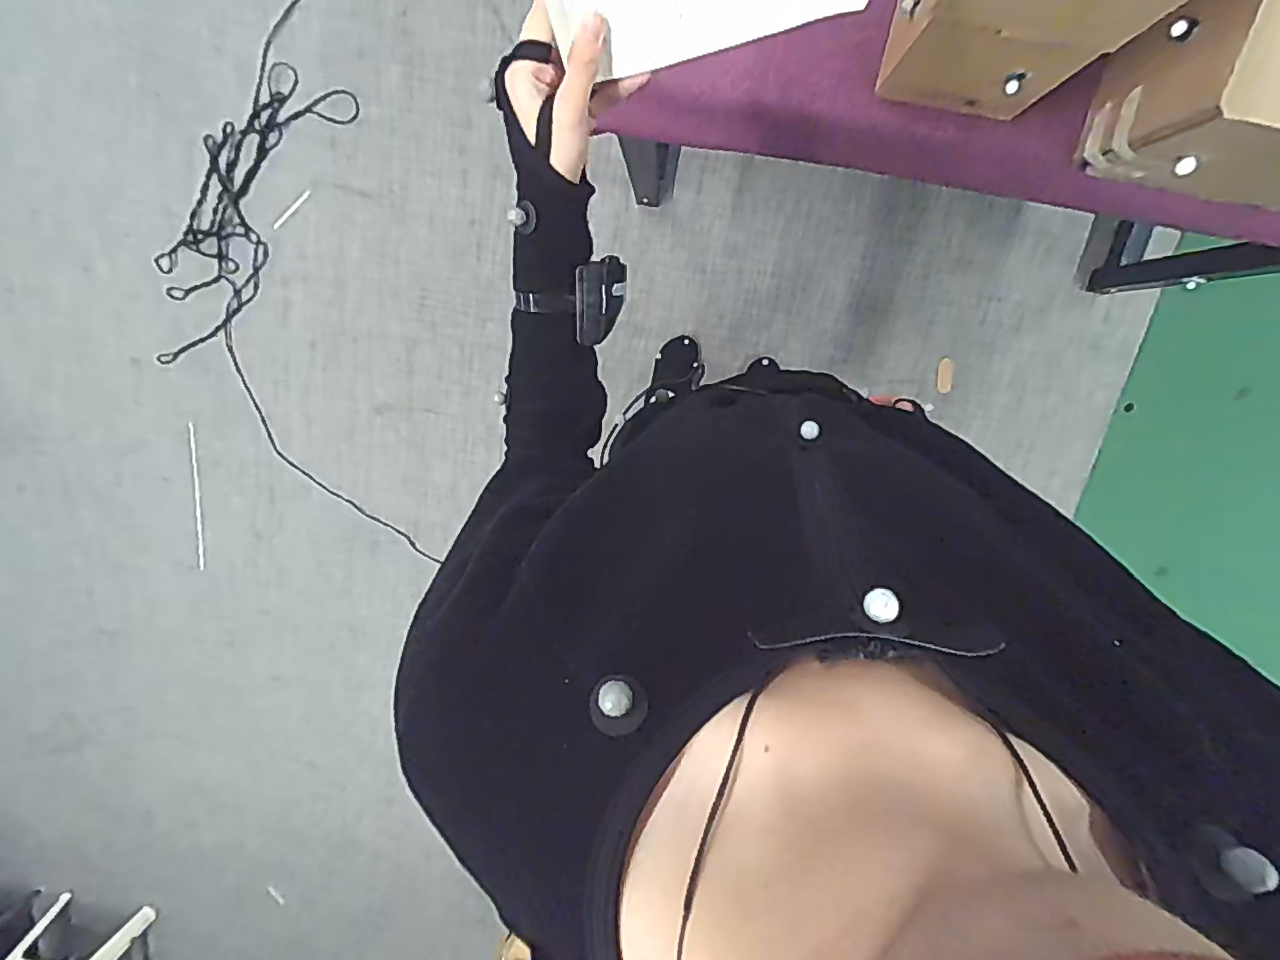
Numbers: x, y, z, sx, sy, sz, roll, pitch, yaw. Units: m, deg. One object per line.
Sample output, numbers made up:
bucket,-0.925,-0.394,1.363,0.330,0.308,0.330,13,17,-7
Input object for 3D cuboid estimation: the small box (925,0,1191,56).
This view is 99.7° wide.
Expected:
small box,0.351,-0.454,0.395,0.179,0.176,0.168,12,102,1

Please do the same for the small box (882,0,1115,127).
small box,0.371,-0.497,0.552,0.168,0.176,0.179,12,102,1
